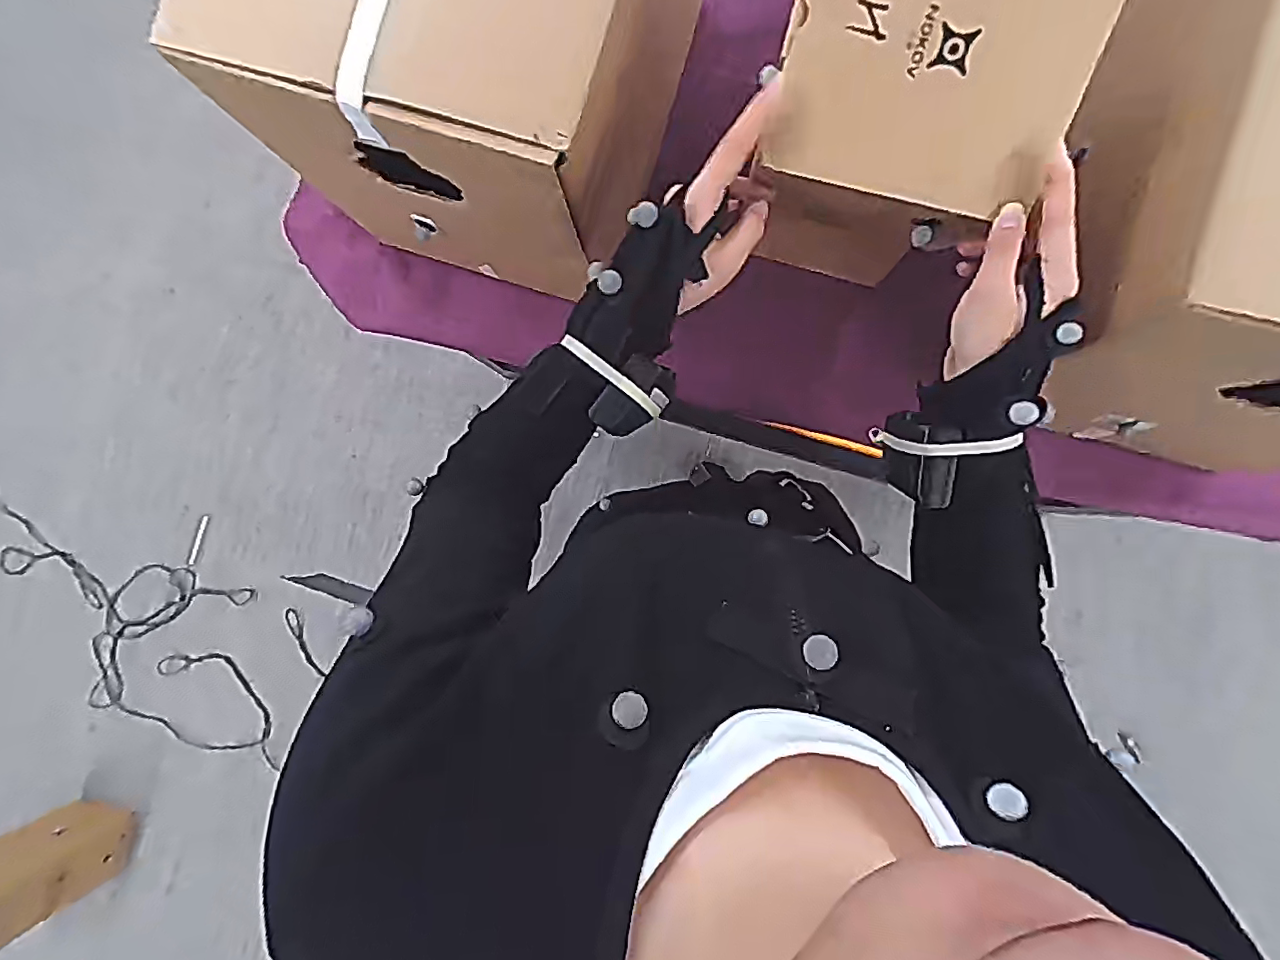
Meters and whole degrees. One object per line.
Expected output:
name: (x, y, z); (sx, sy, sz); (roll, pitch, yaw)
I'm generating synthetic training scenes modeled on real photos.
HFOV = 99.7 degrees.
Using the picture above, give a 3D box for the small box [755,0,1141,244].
small box: (0.192, -0.276, 0.383); (0.179, 0.176, 0.168); (17, 109, 5)

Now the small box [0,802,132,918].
small box: (-1.495, 0.975, 1.405); (0.179, 0.176, 0.168); (10, 90, 4)

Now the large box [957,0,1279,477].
large box: (0.540, -0.238, 0.461); (0.320, 0.320, 0.408); (17, 88, 5)
